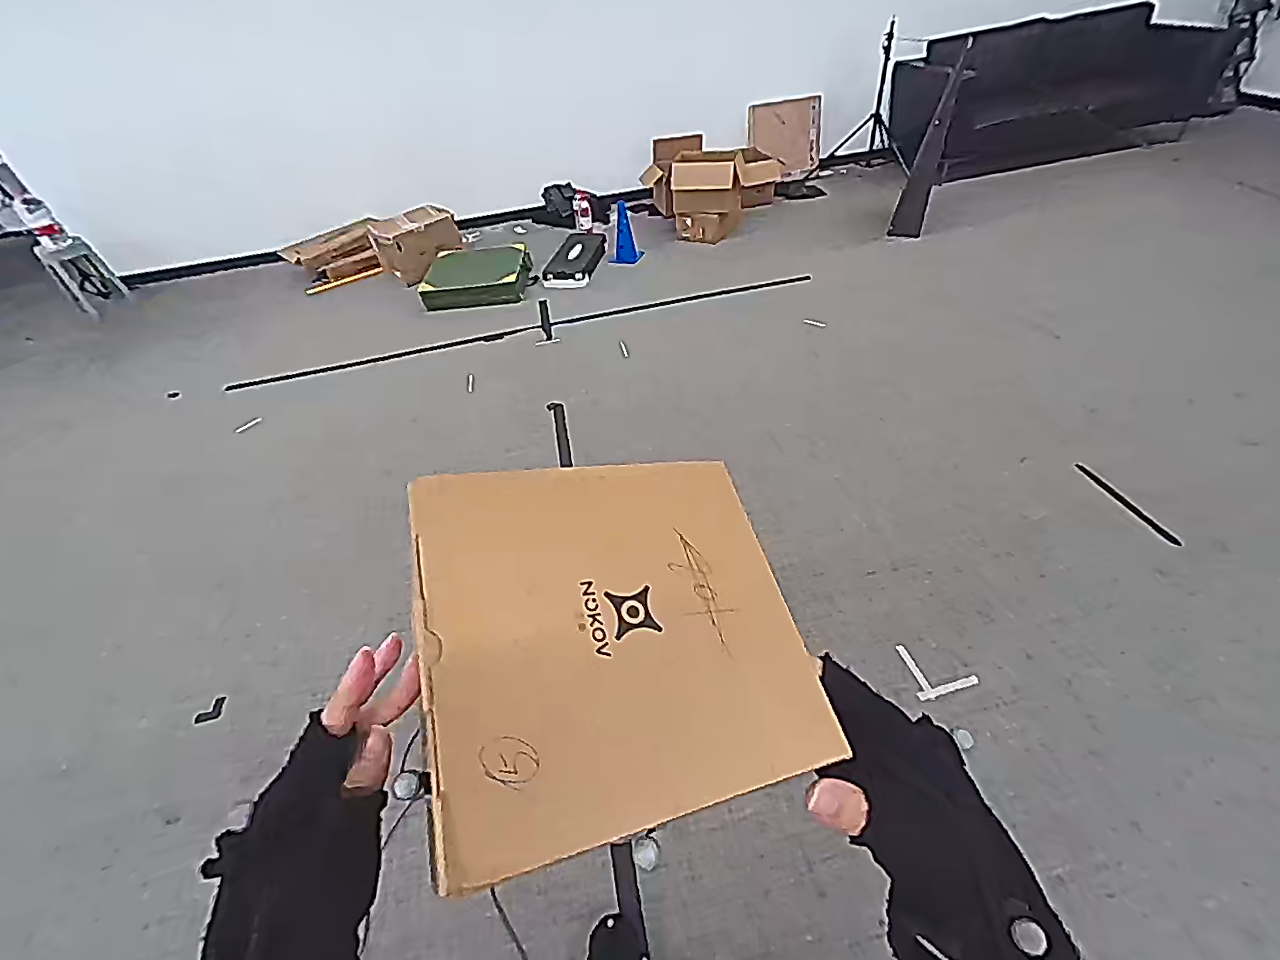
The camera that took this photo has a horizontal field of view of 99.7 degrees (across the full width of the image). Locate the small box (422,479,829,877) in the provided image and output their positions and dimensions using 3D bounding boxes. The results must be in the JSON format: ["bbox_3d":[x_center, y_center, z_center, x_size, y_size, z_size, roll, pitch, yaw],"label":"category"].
[{"bbox_3d":[-0.031,0.117,0.326,0.179,0.176,0.168,-3,56,-24],"label":"small box"}]
